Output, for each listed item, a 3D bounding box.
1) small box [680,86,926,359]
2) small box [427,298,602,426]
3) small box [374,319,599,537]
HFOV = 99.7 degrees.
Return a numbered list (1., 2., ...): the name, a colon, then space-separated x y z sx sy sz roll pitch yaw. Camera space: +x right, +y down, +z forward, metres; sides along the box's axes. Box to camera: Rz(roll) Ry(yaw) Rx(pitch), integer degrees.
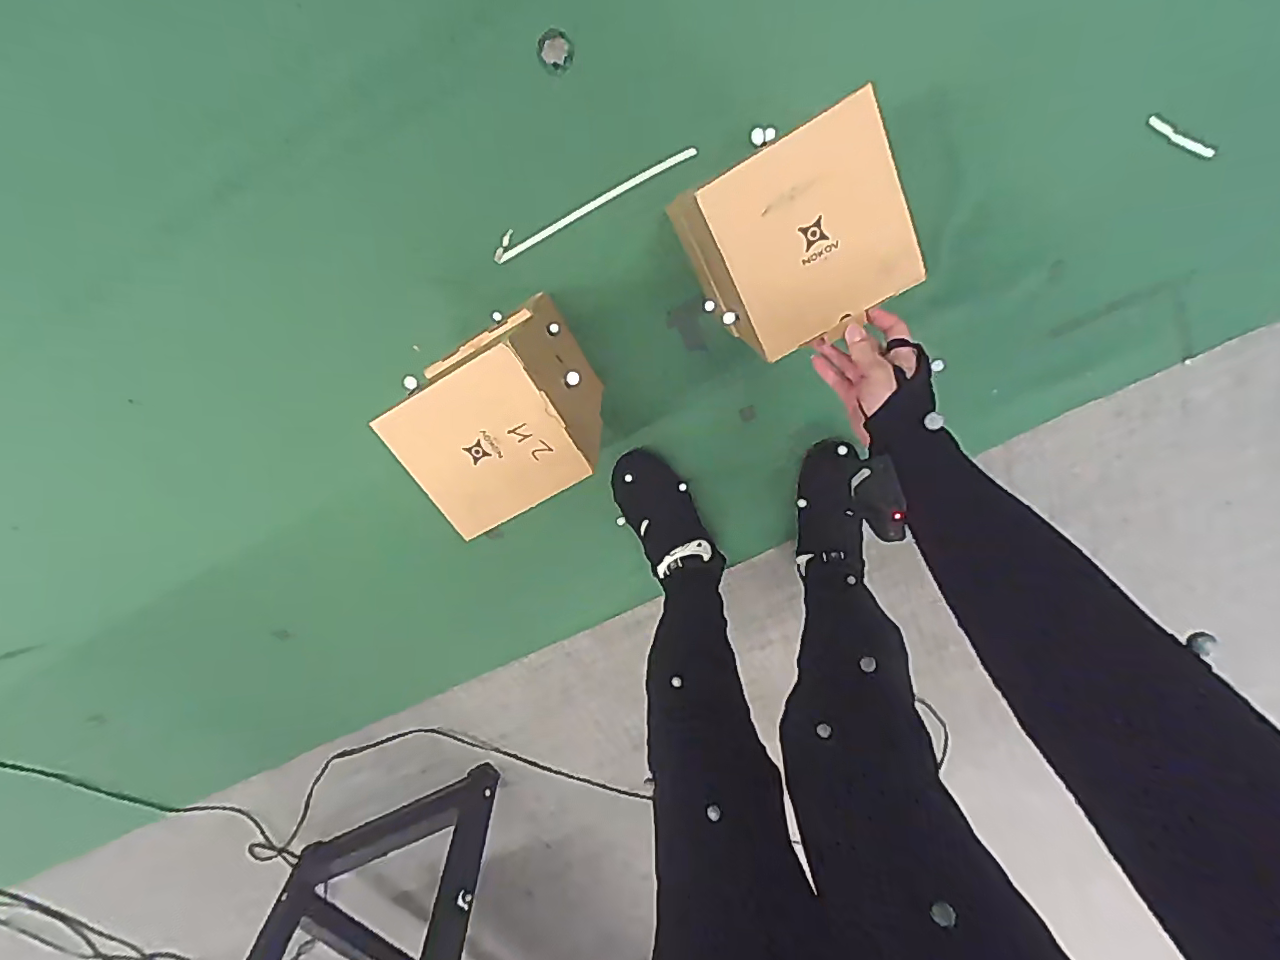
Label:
1. small box: 0.155 -0.256 0.560 0.168 0.176 0.179 -28 114 10
2. small box: -0.166 -0.142 0.786 0.168 0.176 0.179 -27 112 11
3. small box: -0.162 -0.068 0.639 0.179 0.176 0.168 -28 113 11
